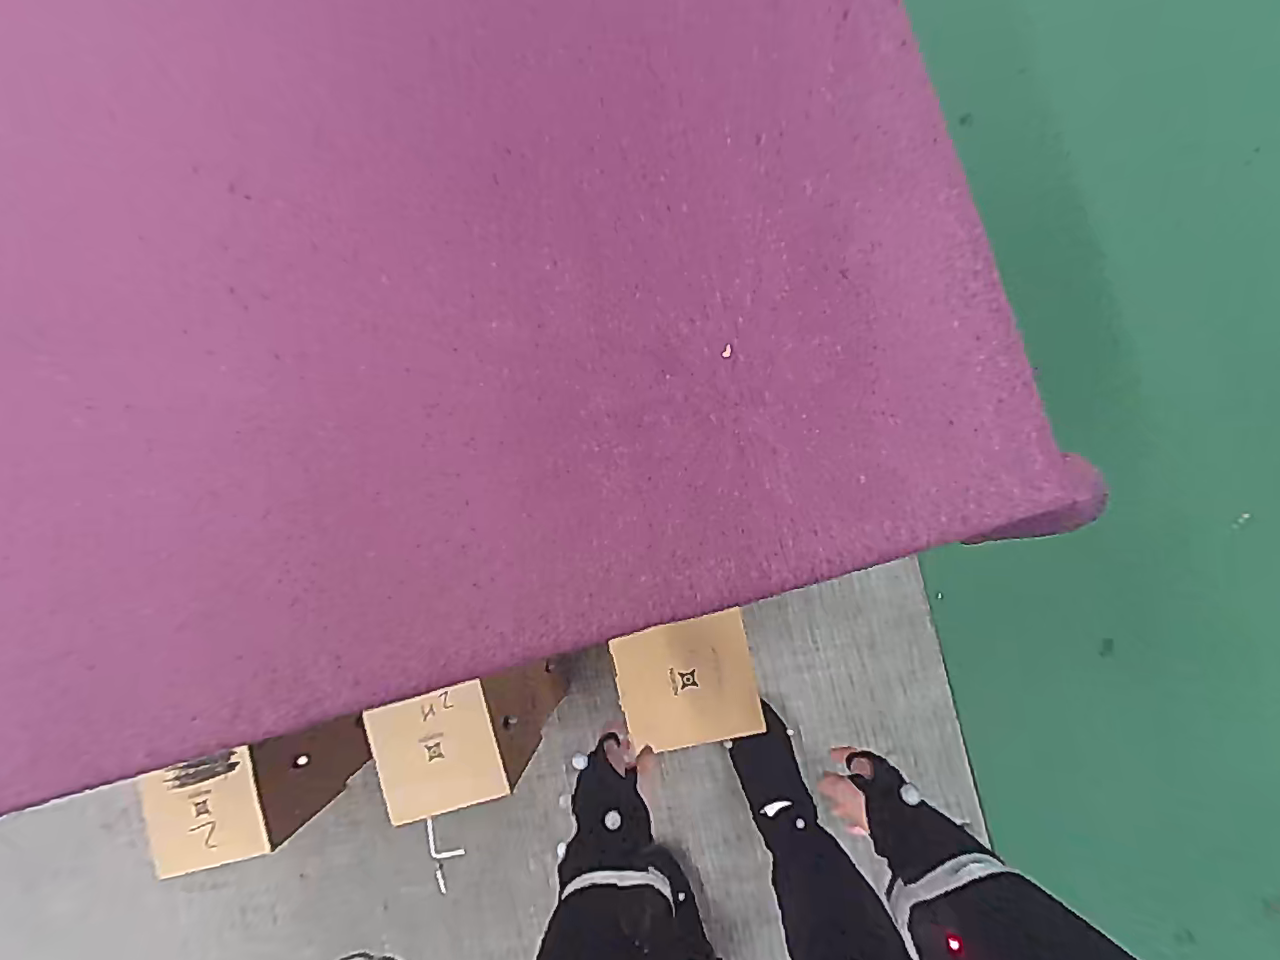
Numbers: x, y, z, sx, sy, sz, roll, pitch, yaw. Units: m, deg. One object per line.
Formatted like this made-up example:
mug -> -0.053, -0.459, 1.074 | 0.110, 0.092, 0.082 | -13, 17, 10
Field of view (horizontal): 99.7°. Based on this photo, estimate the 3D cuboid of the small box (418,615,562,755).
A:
small box -> -0.256, 0.352, 0.956 | 0.179, 0.176, 0.168 | -16, 86, 3
